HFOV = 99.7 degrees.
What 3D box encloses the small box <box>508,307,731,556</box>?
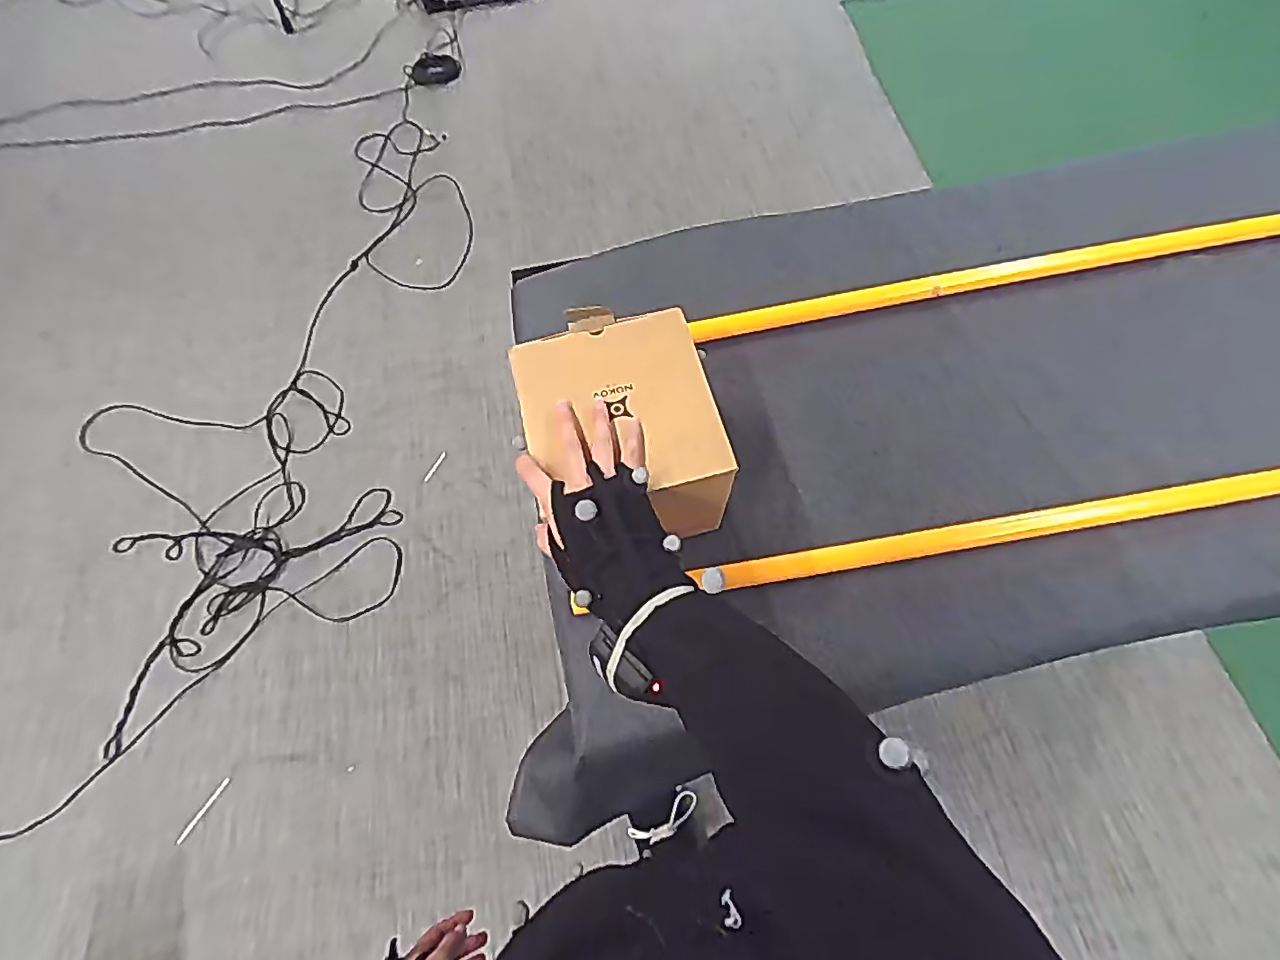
[{"bbox_3d":[-0.018,-0.035,0.541,0.168,0.176,0.179,-15,66,-3],"label":"small box"}]
